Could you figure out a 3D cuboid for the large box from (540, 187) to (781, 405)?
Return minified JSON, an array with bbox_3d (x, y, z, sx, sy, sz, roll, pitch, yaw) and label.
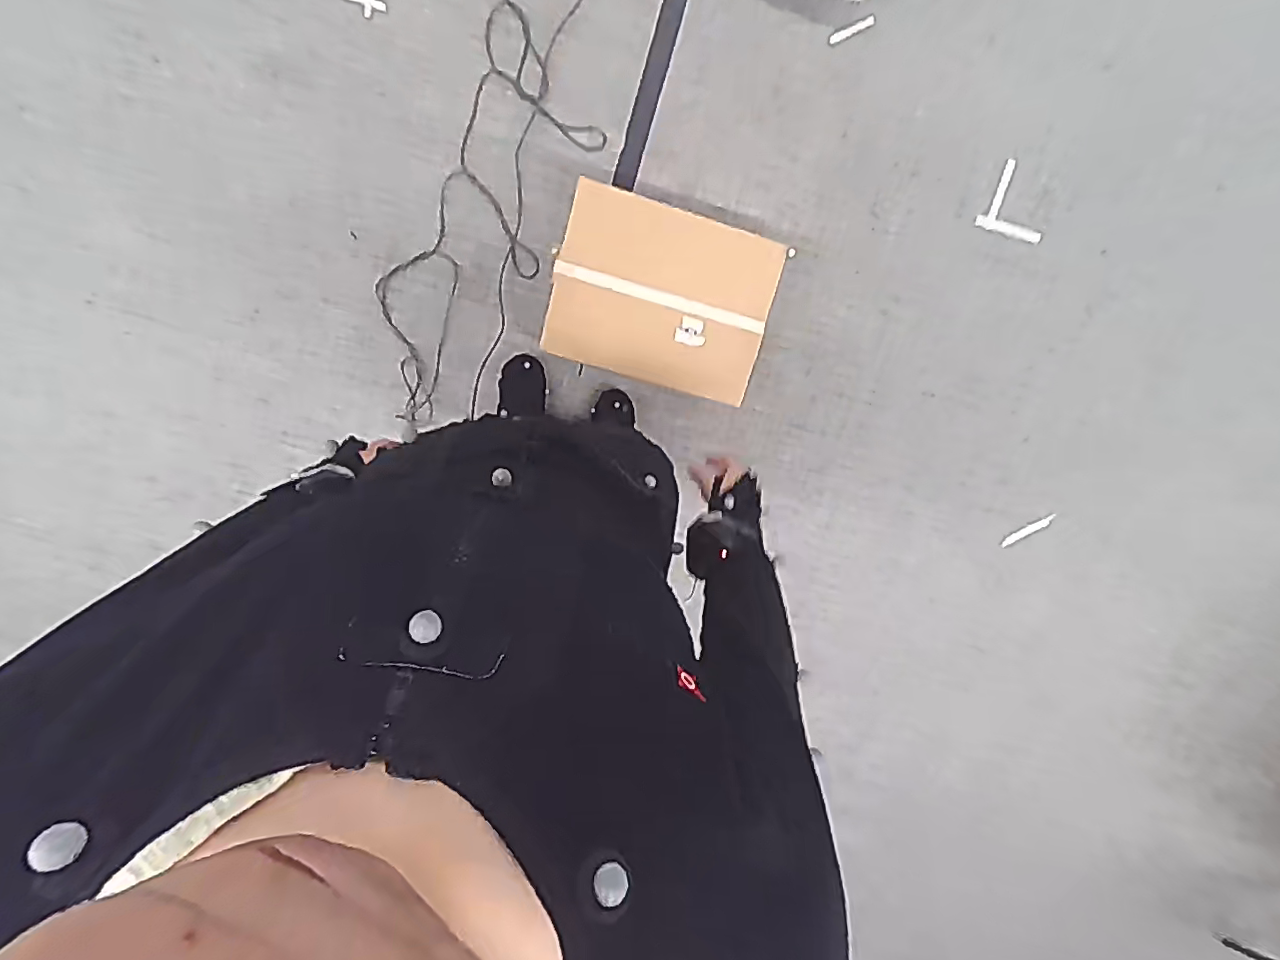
[{"bbox_3d":[0.024,-0.367,1.160,0.408,0.320,0.320,14,102,-8],"label":"large box"}]
